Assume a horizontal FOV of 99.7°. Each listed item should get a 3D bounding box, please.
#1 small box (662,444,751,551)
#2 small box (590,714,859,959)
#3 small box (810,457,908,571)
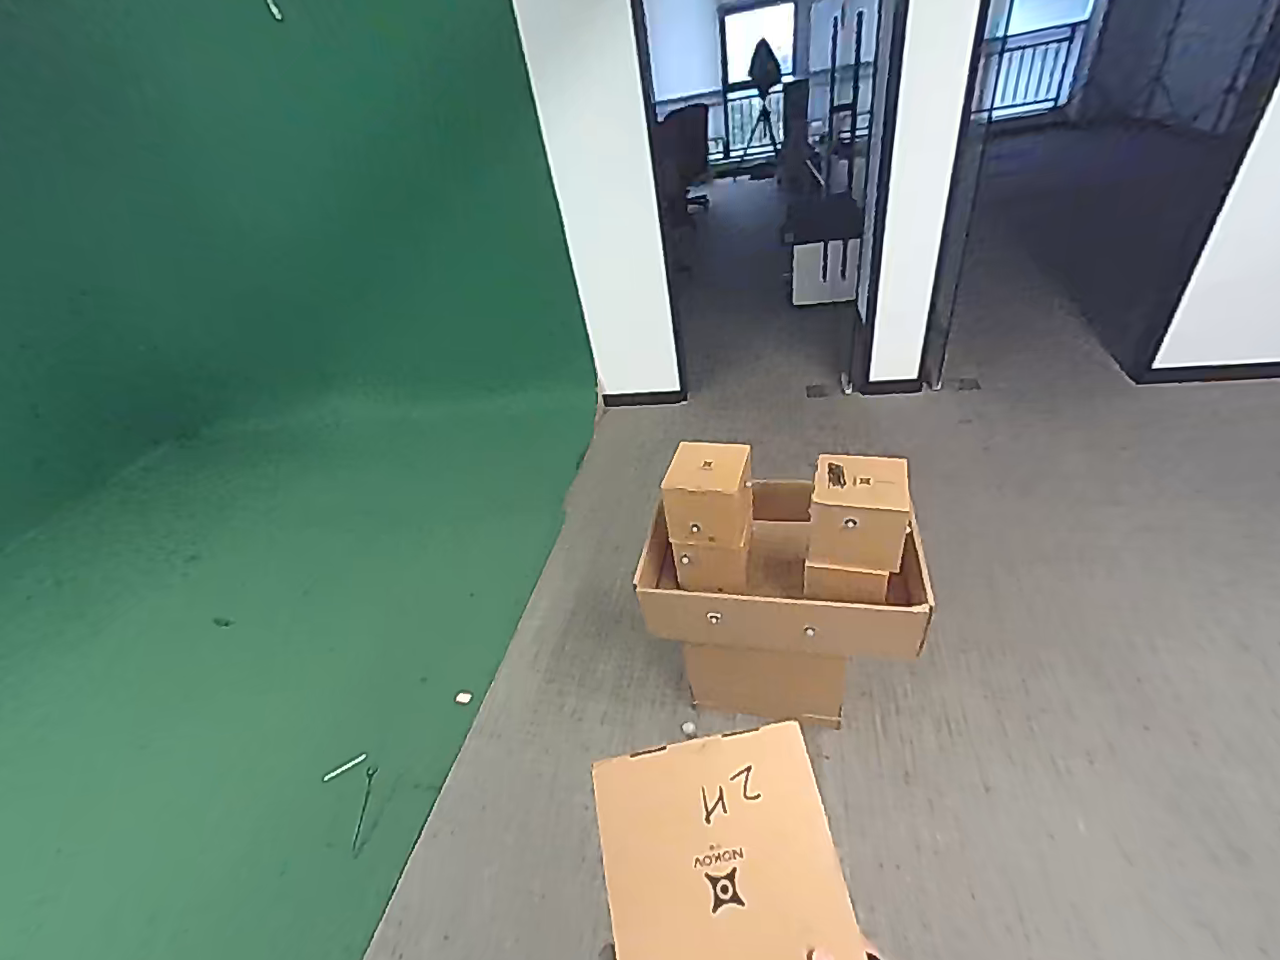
[{"bbox_3d":[0.160,0.038,1.244,0.168,0.176,0.179,4,39,20],"label":"small box"},{"bbox_3d":[0.059,0.307,0.457,0.168,0.176,0.179,-10,63,-2],"label":"small box"},{"bbox_3d":[0.452,0.069,1.125,0.179,0.176,0.168,5,40,21],"label":"small box"}]
